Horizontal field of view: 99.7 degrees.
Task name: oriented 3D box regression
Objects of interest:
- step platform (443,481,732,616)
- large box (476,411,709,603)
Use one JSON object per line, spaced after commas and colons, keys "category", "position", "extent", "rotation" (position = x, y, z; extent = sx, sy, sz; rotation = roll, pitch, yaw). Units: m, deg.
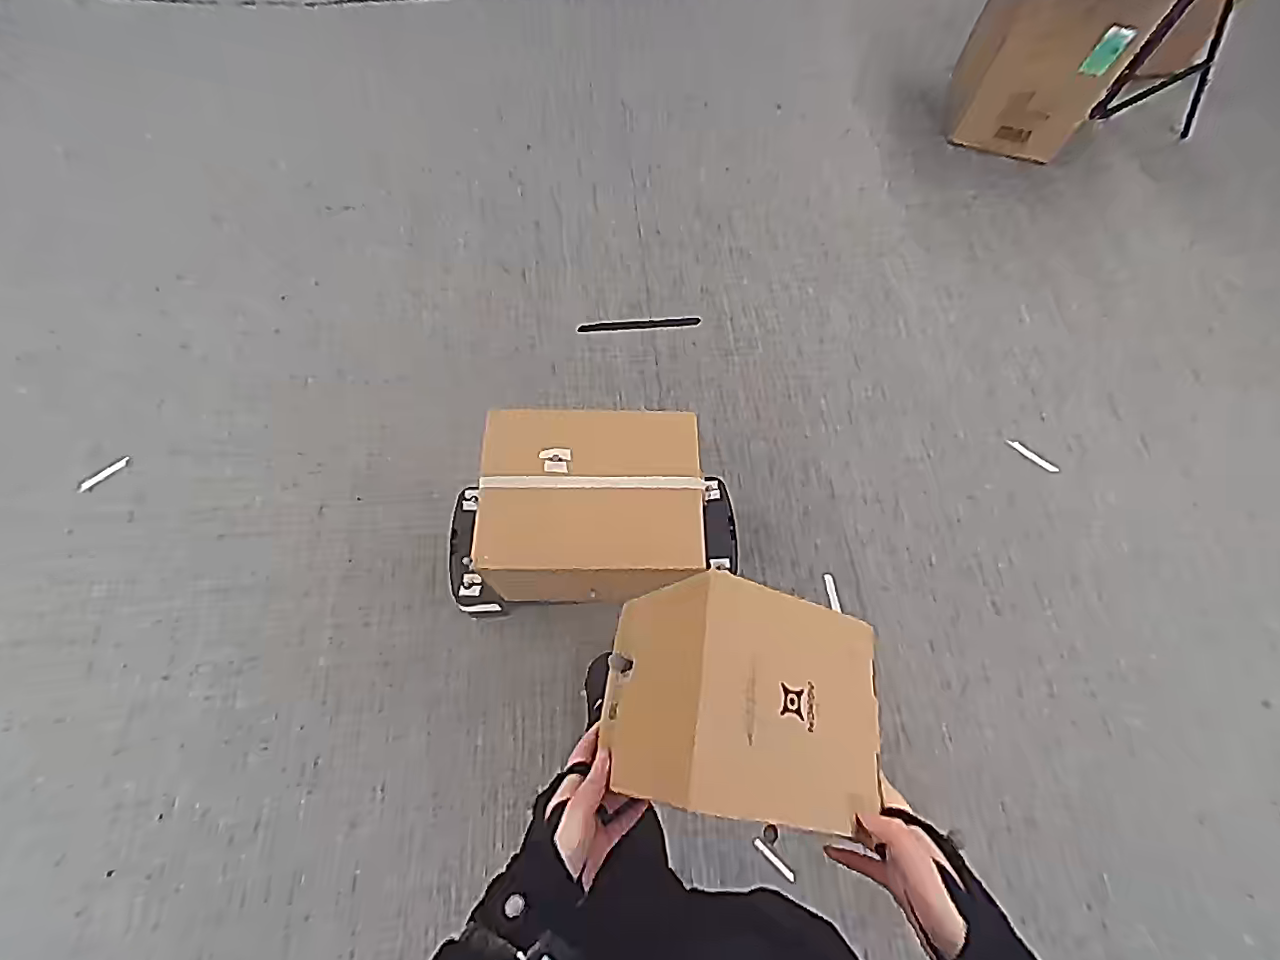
{"category": "step platform", "position": [-0.118, 0.169, 1.325], "extent": [0.684, 0.204, 0.286], "rotation": [1, 67, -1]}
{"category": "large box", "position": [-0.084, 0.071, 1.109], "extent": [0.408, 0.320, 0.320], "rotation": [0, 66, -1]}
